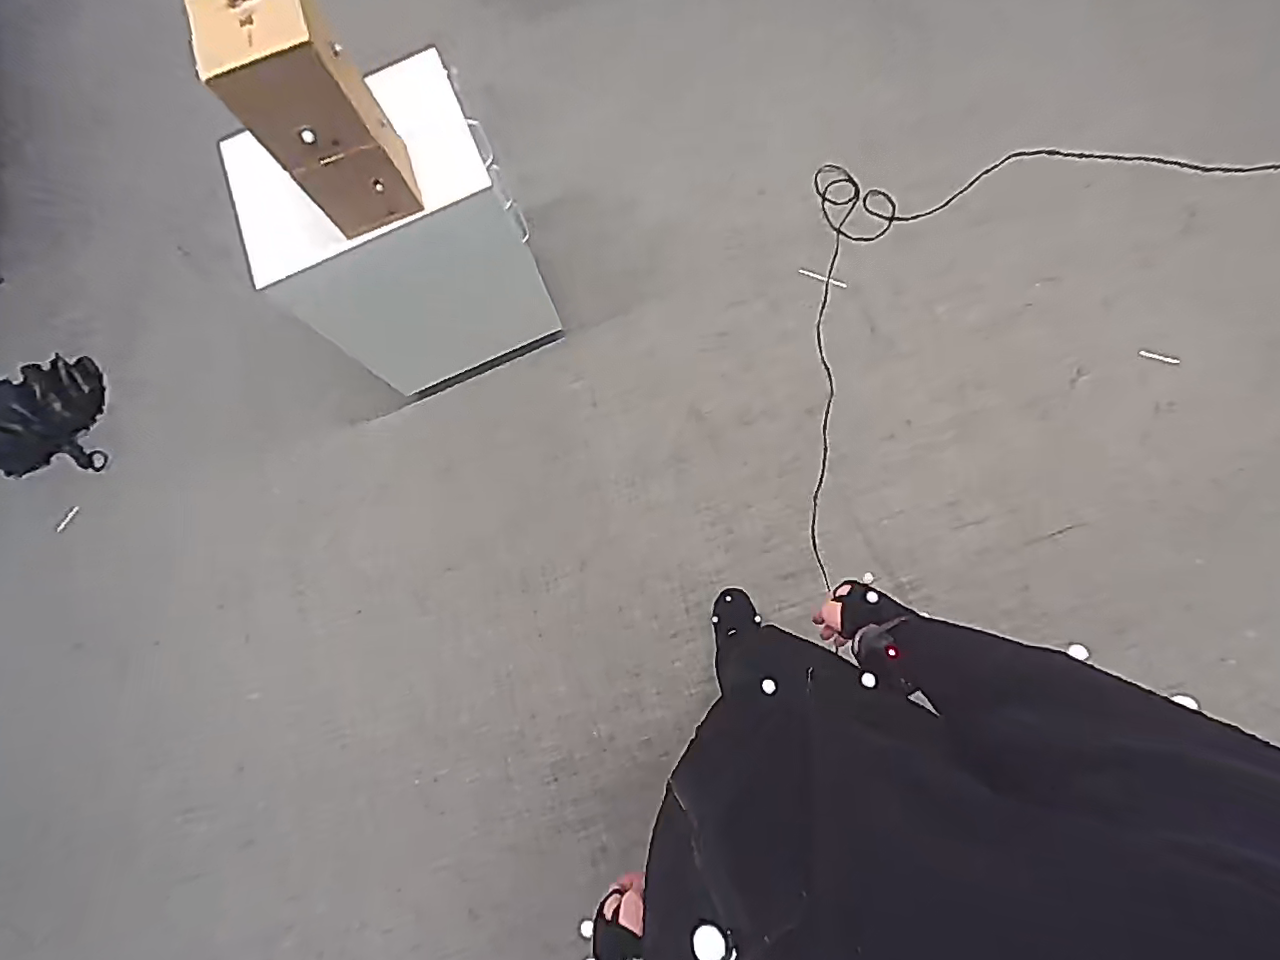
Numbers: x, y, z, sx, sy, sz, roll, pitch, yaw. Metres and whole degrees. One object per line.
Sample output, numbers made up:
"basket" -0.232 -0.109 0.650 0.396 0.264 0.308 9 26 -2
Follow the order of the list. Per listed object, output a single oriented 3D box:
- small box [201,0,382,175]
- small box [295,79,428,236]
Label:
"small box" -0.541 -0.634 0.857 0.168 0.176 0.179 -20 75 1
"small box" -0.524 -0.590 1.014 0.168 0.176 0.179 -21 73 0
